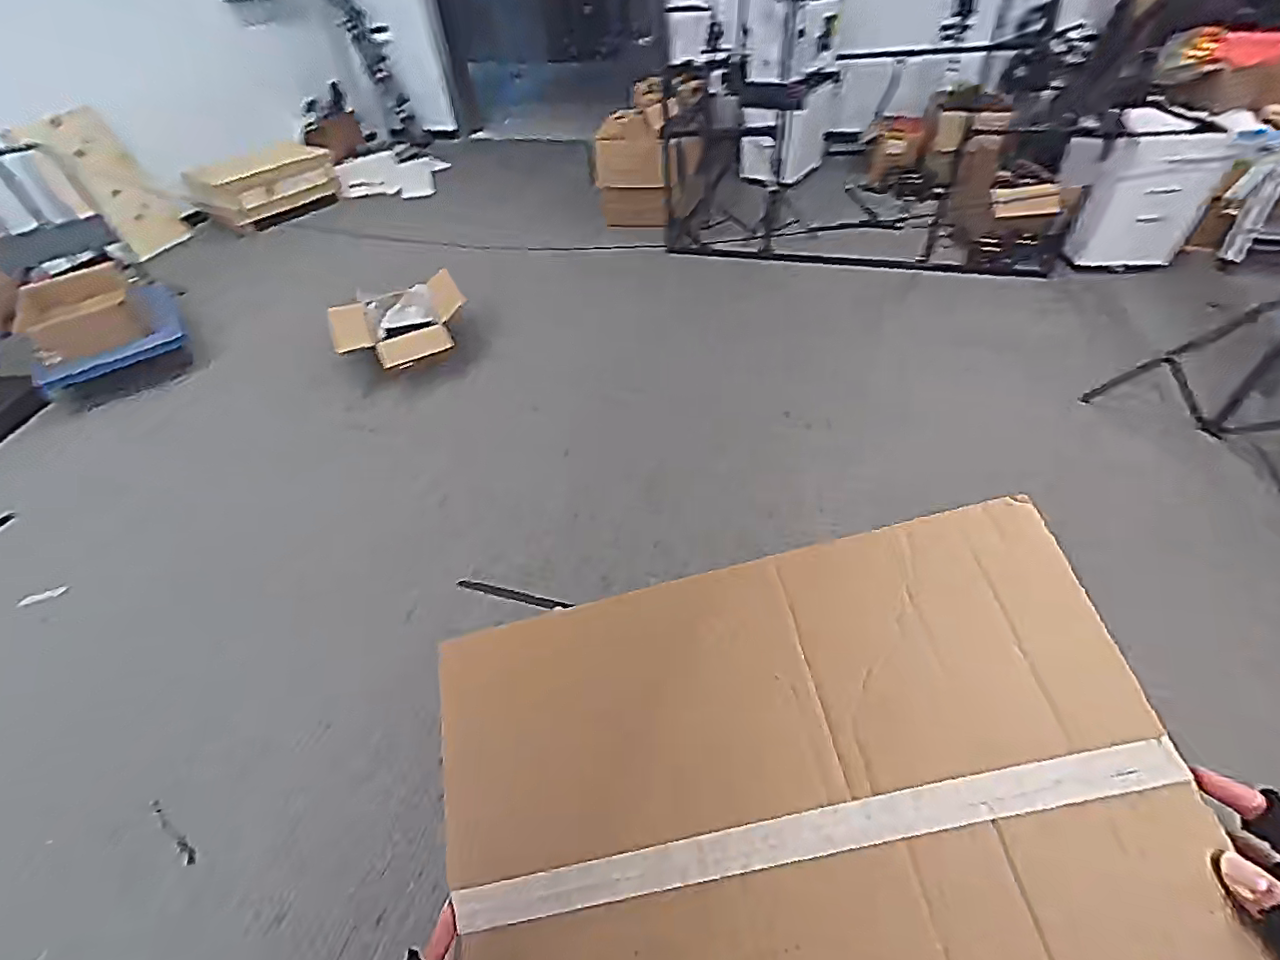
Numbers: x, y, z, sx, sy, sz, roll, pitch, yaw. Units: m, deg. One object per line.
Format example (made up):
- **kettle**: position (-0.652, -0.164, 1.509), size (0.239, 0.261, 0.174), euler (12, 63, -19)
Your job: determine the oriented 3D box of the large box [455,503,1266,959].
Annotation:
- **large box**: position (0.114, 0.262, 0.443), size (0.408, 0.320, 0.320), euler (-16, 66, 5)
